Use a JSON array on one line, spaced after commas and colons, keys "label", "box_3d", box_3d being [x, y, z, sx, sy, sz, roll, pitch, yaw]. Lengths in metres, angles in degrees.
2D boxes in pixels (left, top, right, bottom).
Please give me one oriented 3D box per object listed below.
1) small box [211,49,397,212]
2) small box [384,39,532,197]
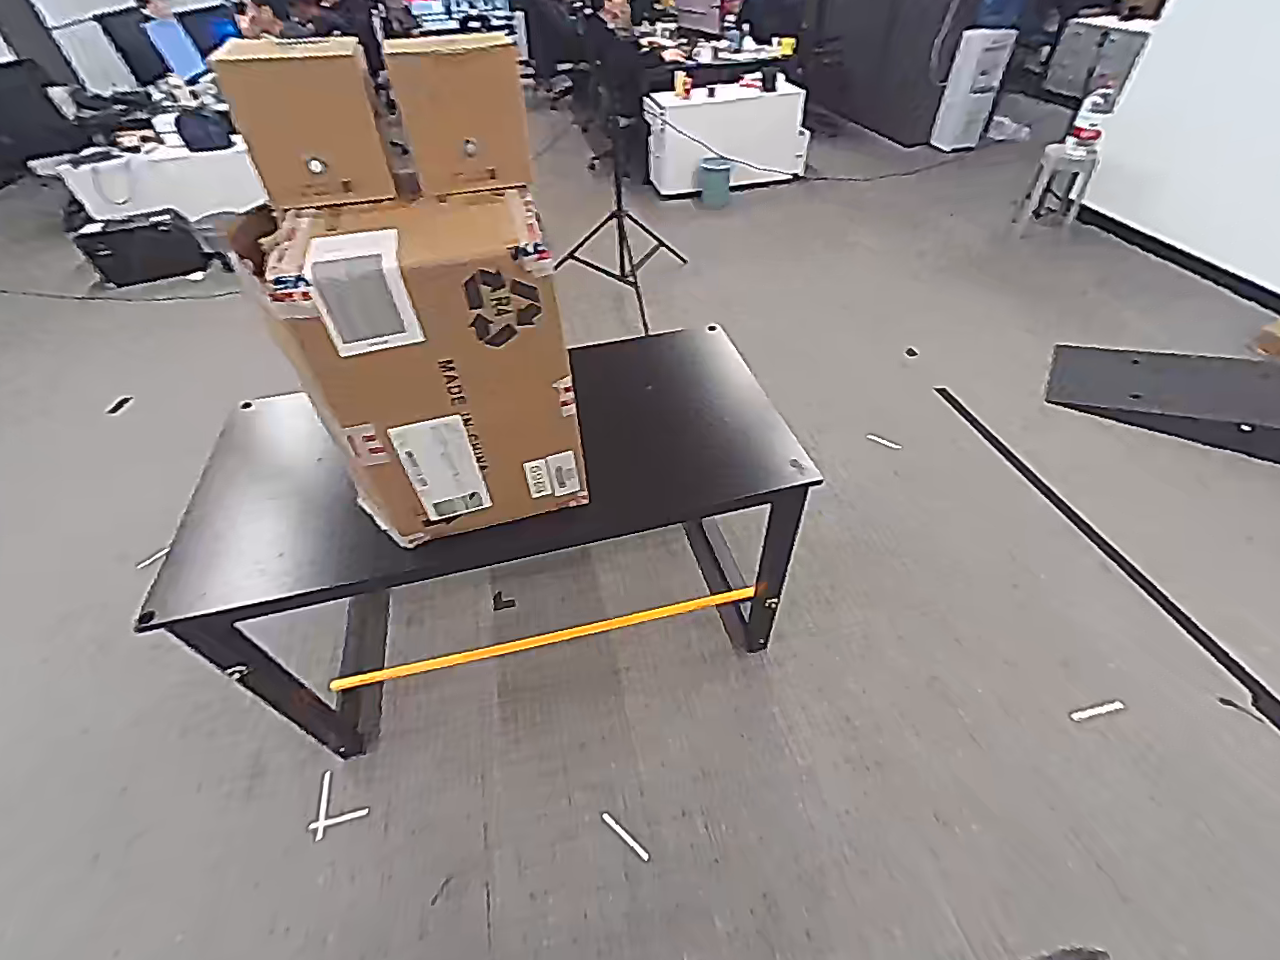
[{"label": "small box", "box_3d": [-0.455, -0.496, 0.765, 0.168, 0.176, 0.179, -14, 45, -14]}, {"label": "small box", "box_3d": [-0.264, -0.538, 0.804, 0.168, 0.176, 0.179, -14, 45, -11]}]
